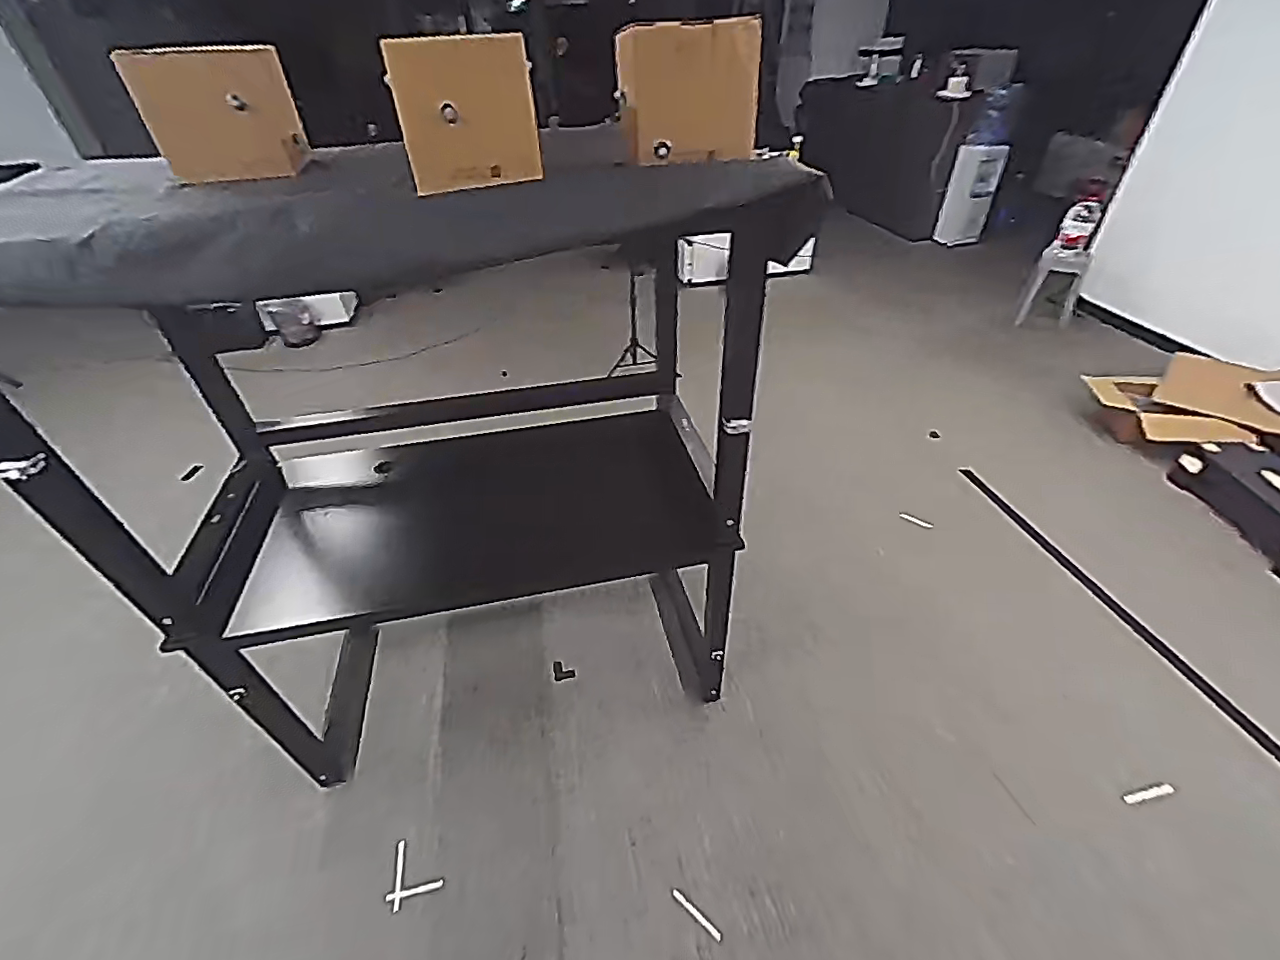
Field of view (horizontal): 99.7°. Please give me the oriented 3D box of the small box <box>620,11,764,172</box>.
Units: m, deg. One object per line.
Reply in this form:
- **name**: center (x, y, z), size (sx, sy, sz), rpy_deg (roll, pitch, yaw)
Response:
- **small box**: center (0.068, -0.546, 0.772), size (0.168, 0.176, 0.179), rpy_deg (-8, 36, -6)

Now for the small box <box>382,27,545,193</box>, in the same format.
- **small box**: center (-0.227, -0.497, 0.734), size (0.168, 0.176, 0.179), rpy_deg (-10, 38, -9)
